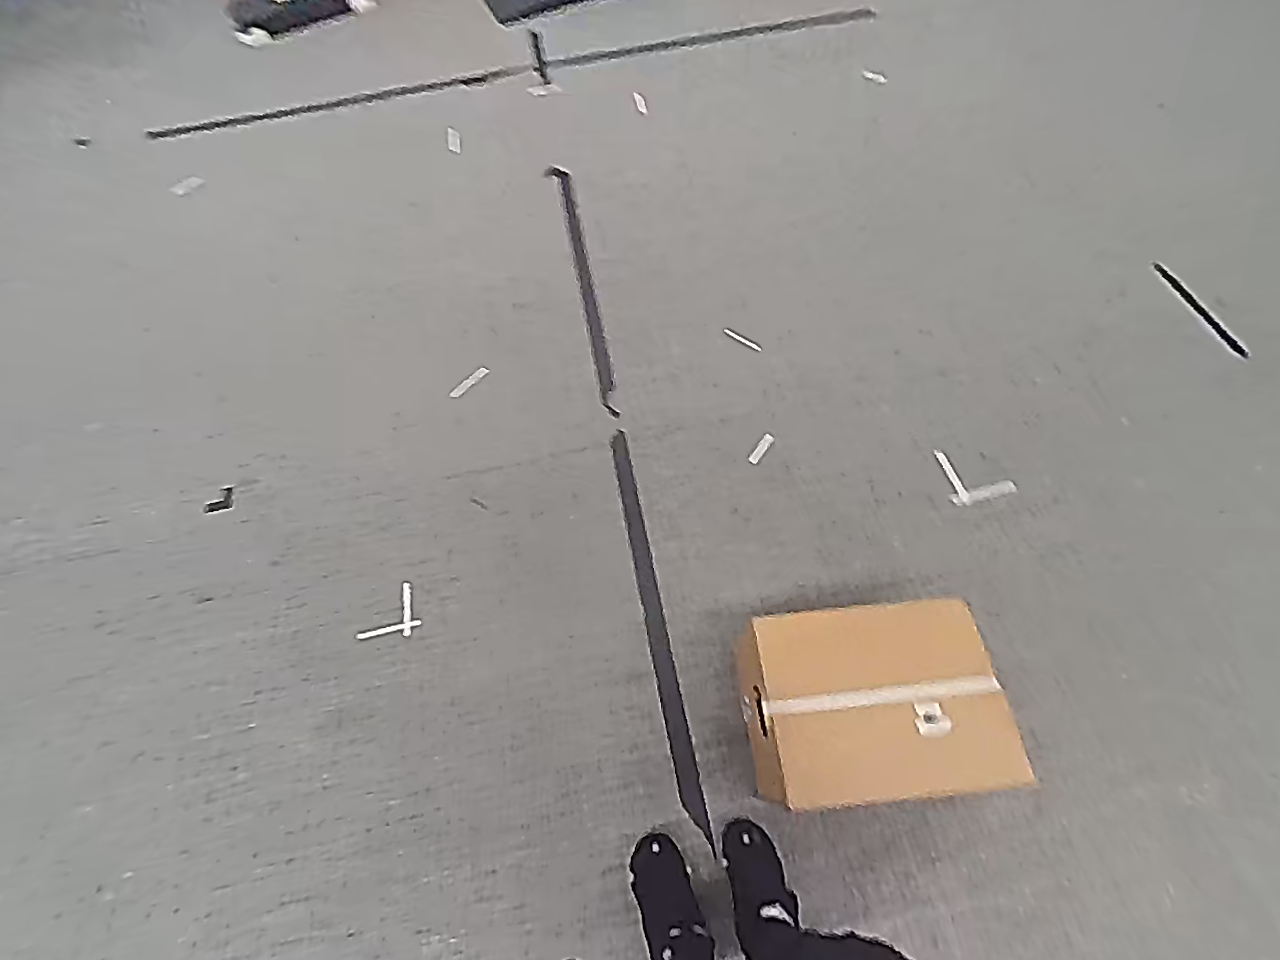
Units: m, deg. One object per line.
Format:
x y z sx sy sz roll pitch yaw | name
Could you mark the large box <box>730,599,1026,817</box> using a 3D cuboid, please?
0.419 0.452 1.071 0.408 0.320 0.320 -6 62 -2 | large box
